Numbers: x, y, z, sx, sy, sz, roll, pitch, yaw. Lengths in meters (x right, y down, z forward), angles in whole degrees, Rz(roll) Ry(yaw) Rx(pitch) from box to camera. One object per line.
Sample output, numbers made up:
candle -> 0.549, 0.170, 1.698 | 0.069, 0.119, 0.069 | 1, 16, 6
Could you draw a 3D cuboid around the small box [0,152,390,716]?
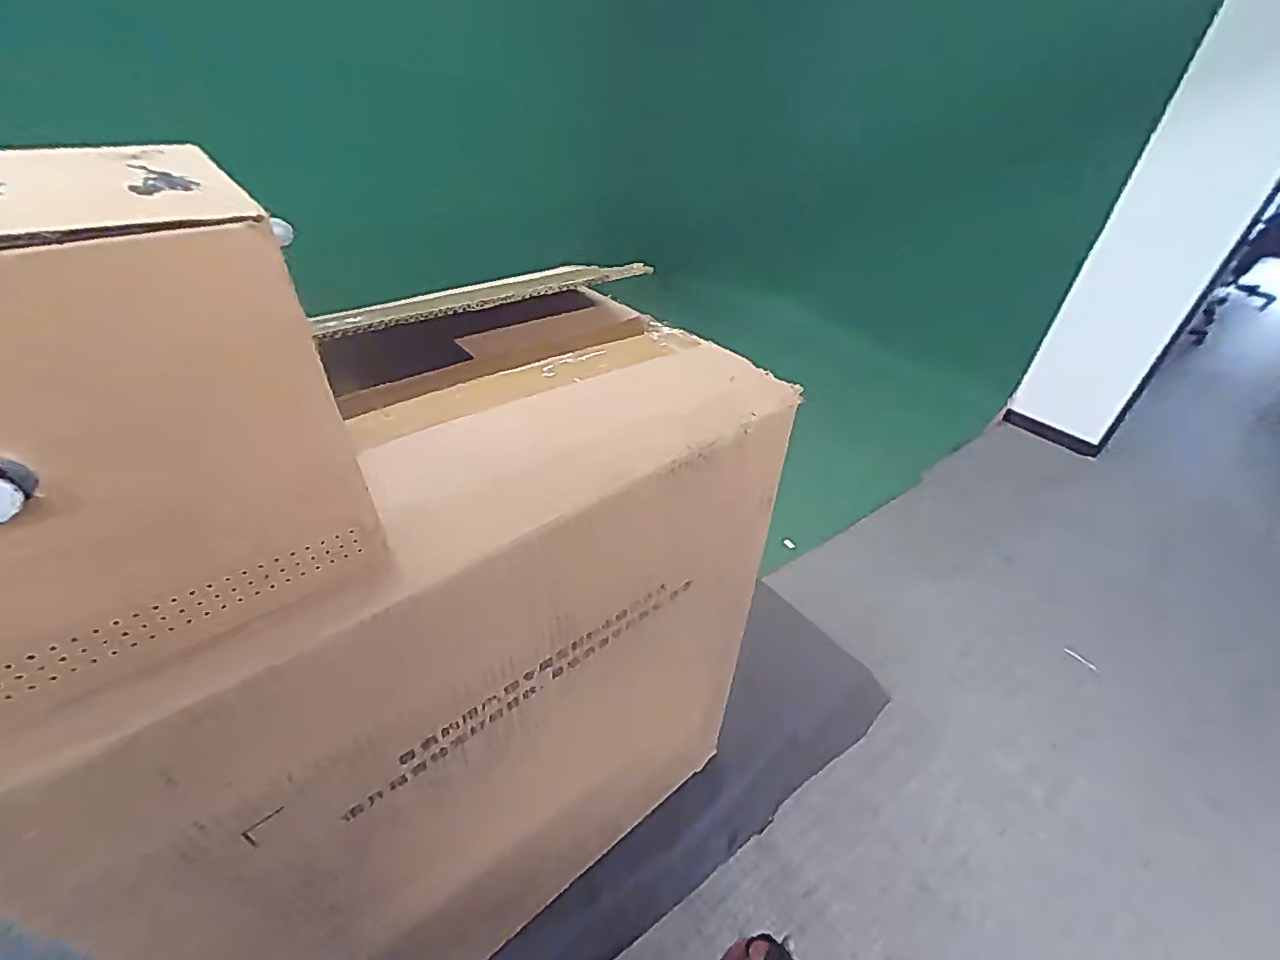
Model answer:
small box -> -0.246, -0.031, 0.244 | 0.179, 0.176, 0.168 | -27, 48, -30
